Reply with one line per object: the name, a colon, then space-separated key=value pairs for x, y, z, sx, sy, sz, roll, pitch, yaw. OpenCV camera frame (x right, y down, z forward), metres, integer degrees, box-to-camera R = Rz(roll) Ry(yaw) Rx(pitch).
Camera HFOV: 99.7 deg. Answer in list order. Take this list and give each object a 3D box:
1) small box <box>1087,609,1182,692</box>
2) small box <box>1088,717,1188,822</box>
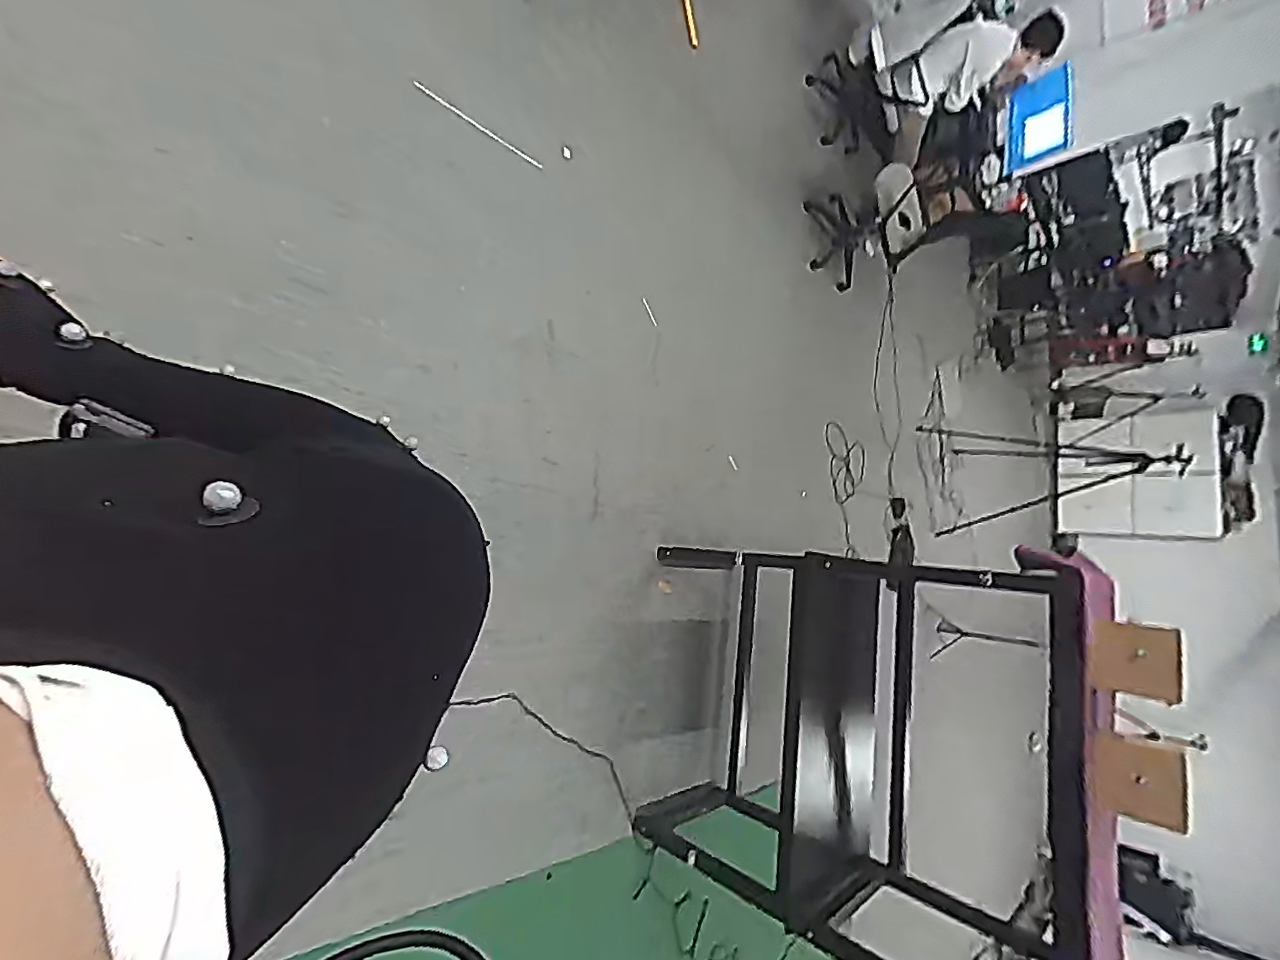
small box: x=1.252 y=0.425 z=1.371 sx=0.168 sy=0.176 sz=0.179 roll=16 pitch=77 yaw=-42
small box: x=1.230 y=0.704 z=1.336 sx=0.168 sy=0.176 sz=0.179 roll=18 pitch=75 yaw=-43
